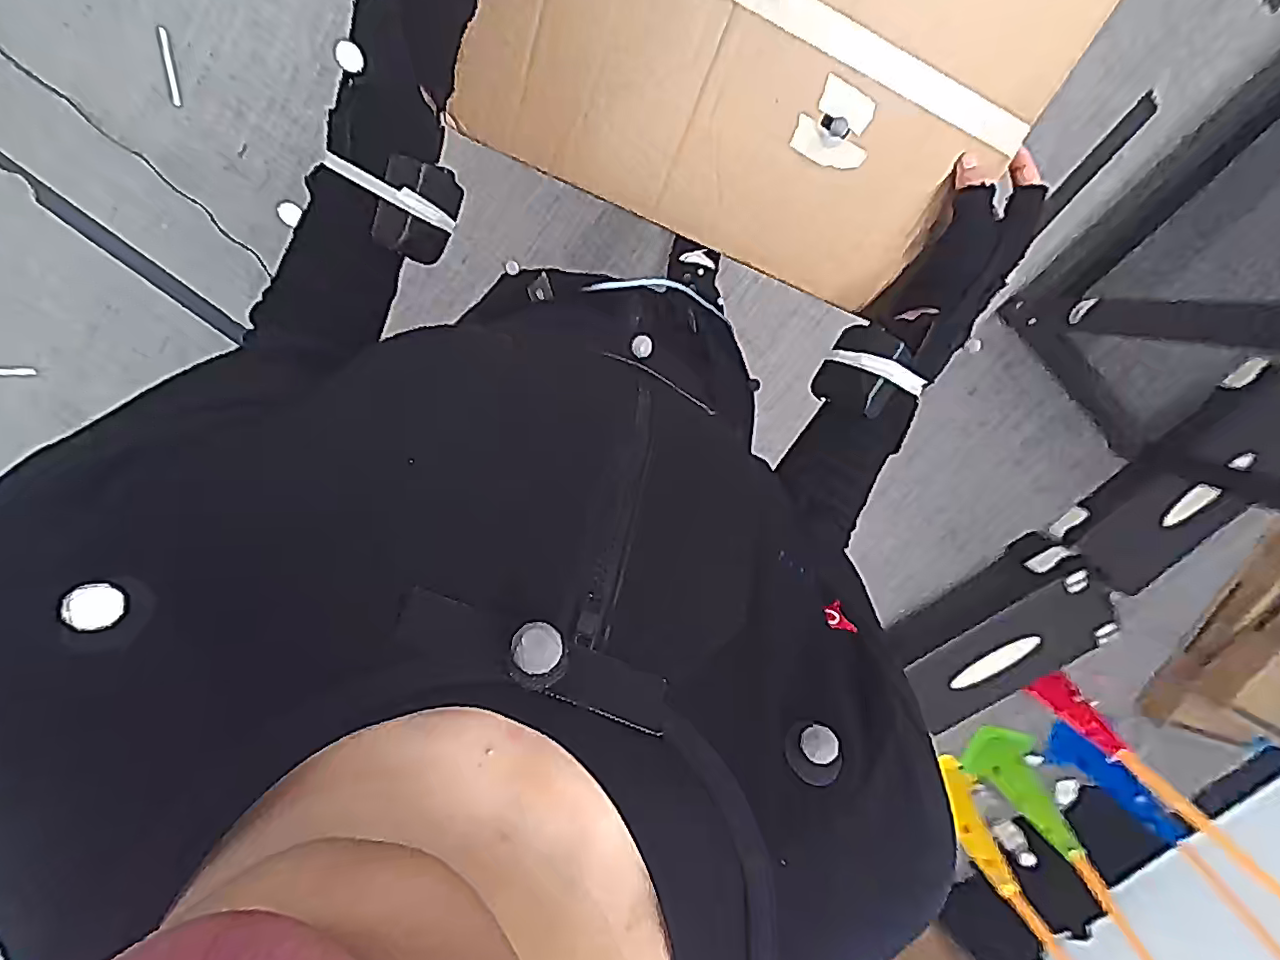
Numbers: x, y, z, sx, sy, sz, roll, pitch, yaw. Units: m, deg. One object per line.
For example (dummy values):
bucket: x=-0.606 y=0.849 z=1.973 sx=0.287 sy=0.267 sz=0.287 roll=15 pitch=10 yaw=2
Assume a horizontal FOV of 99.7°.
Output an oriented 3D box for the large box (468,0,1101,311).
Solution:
large box: x=0.101 y=-0.415 z=0.499 sx=0.408 sy=0.320 sz=0.320 roll=18 pitch=124 yaw=-14
